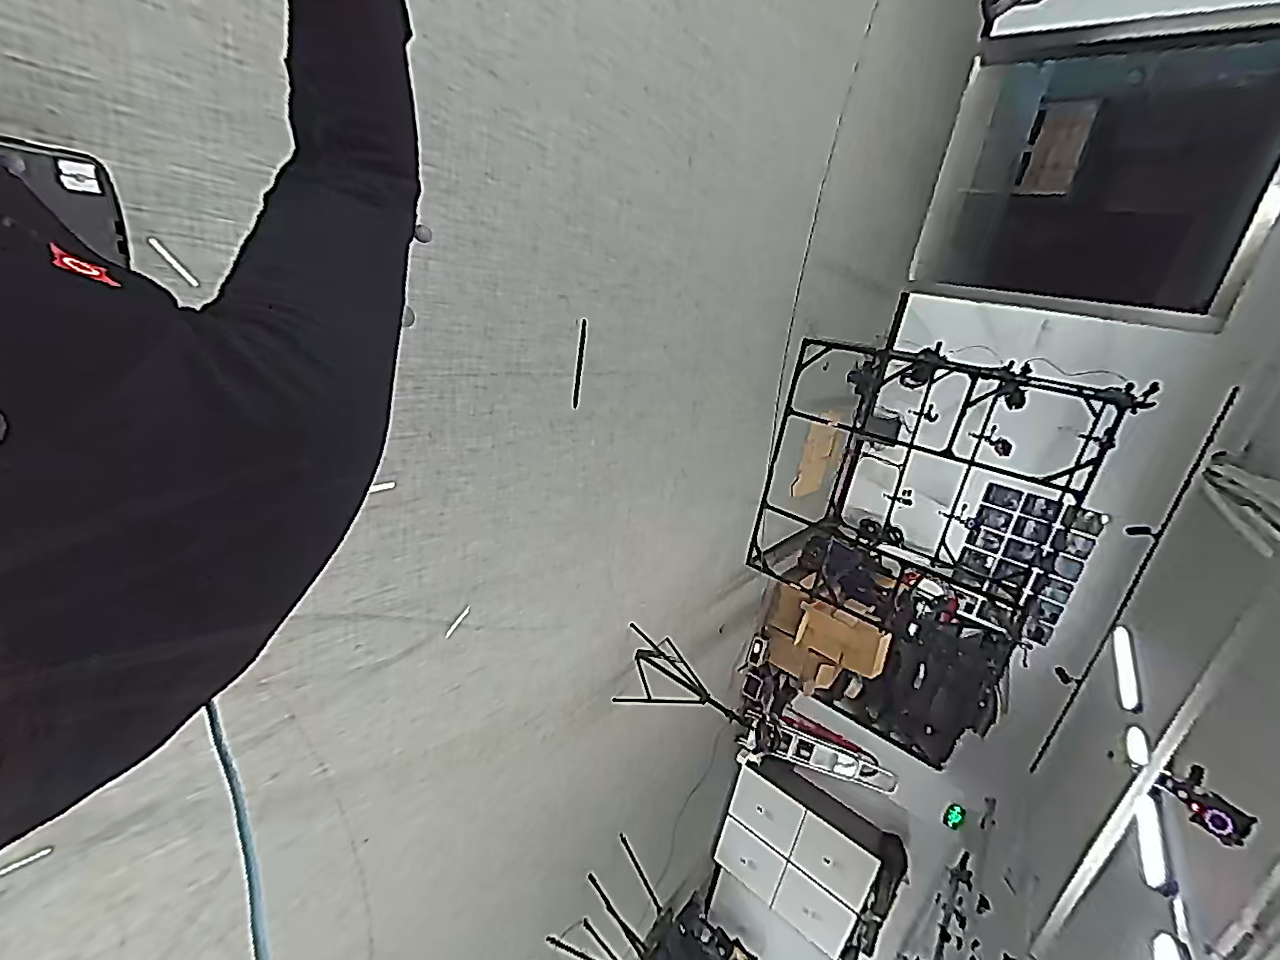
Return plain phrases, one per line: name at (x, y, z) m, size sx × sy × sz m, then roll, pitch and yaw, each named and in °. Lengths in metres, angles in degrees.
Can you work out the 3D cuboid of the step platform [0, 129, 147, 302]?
step platform at (-1.263, -0.459, 0.876) m, size 0.684 × 0.204 × 0.286 m, roll -18°, pitch 123°, yaw -50°
